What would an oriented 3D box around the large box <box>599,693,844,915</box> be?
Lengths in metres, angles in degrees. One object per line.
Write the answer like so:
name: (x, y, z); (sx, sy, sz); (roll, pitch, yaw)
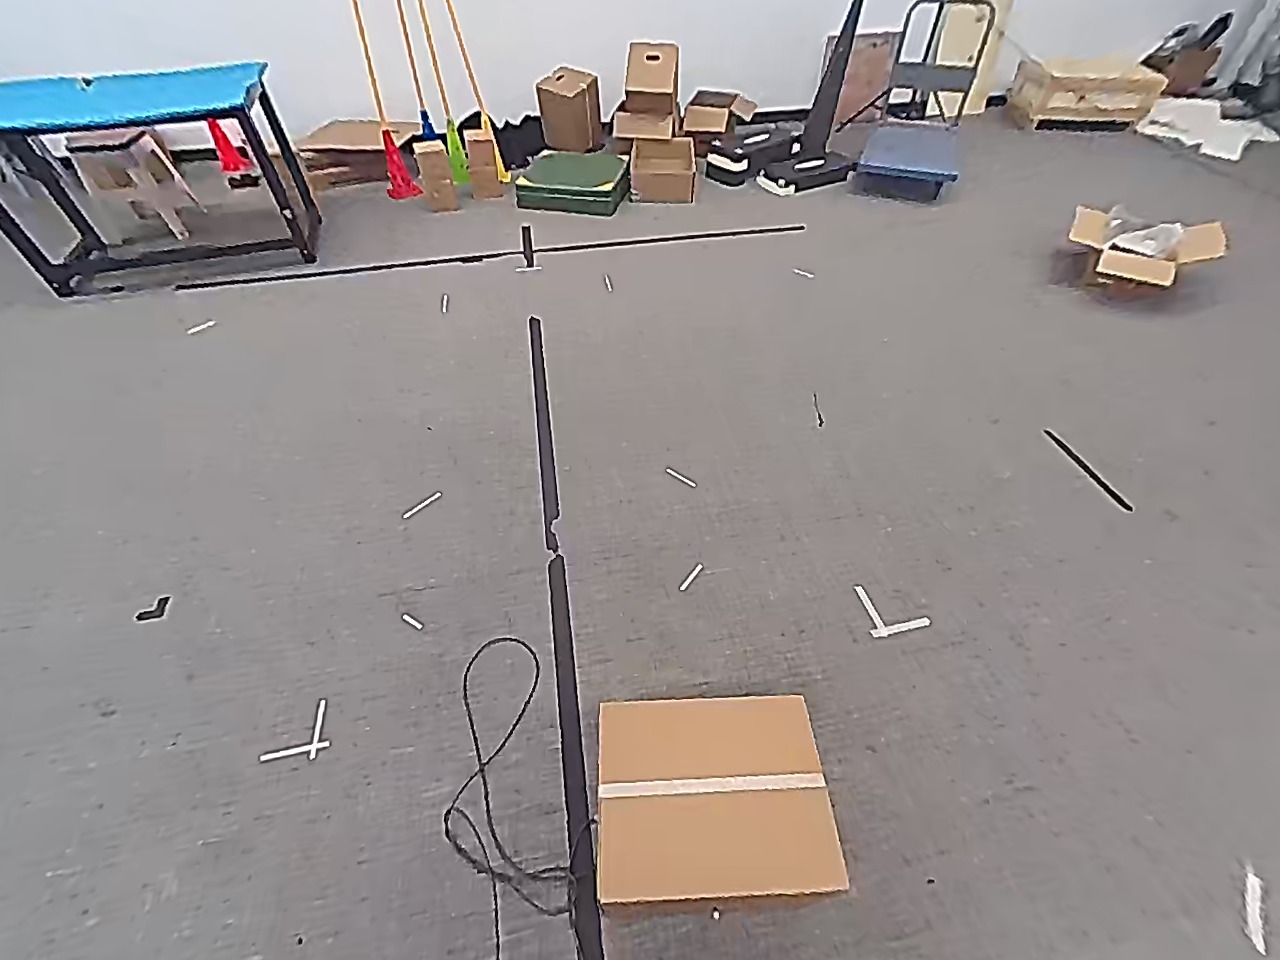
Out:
large box: (0.125, 0.644, 1.076); (0.408, 0.320, 0.320); (-1, 48, -2)
